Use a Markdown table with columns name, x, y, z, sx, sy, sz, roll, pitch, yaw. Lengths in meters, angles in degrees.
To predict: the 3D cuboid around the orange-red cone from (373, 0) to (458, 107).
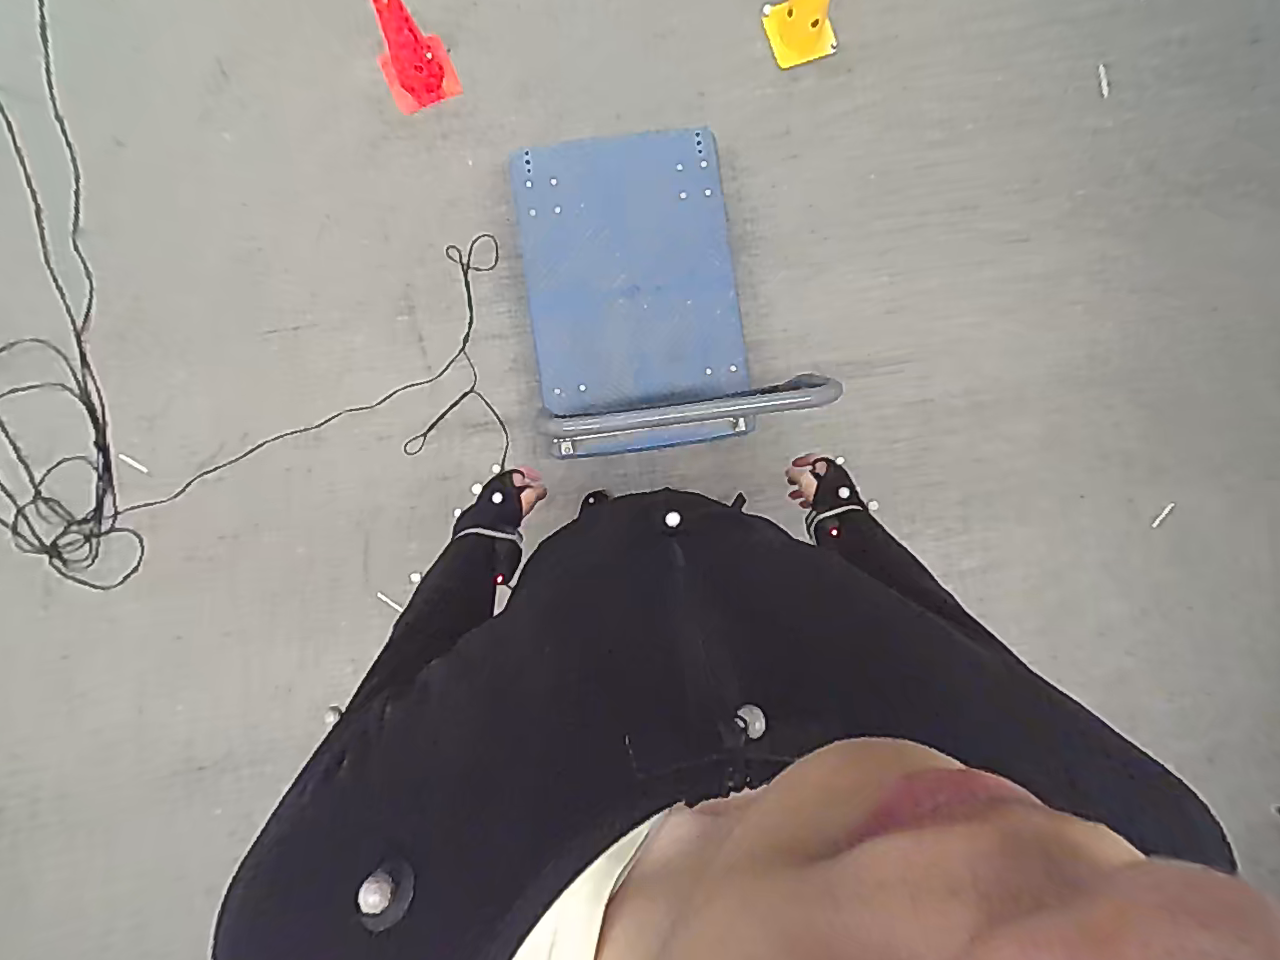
| name | x | y | z | sx | sy | sz | roll | pitch | yaw |
| --- | --- | --- | --- | --- | --- | --- | --- | --- | --- |
| orange-red cone | -0.668 | -1.249 | 1.469 | 0.199 | 0.360 | 0.198 | -23 | 89 | -1 |
